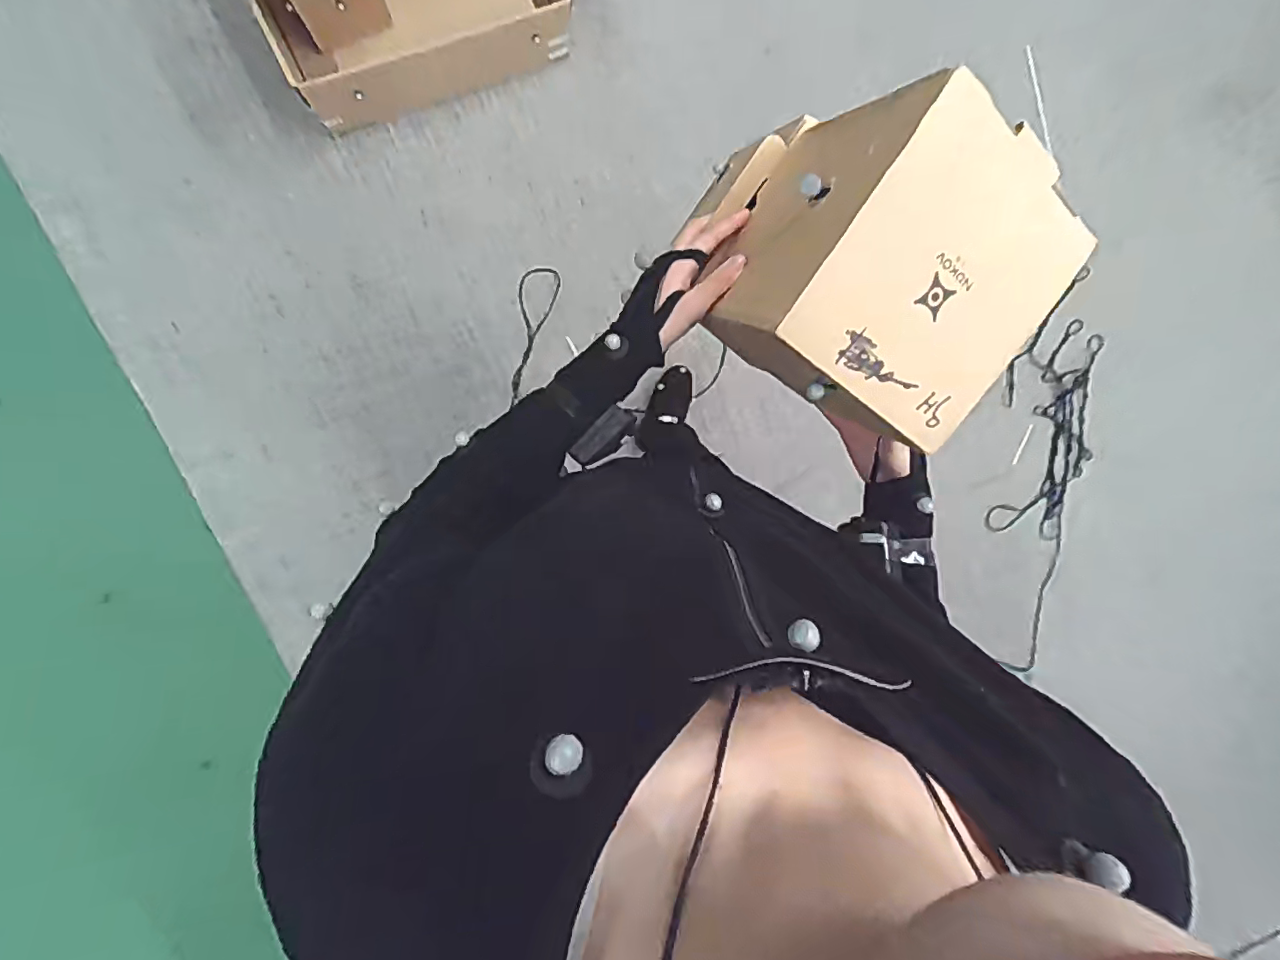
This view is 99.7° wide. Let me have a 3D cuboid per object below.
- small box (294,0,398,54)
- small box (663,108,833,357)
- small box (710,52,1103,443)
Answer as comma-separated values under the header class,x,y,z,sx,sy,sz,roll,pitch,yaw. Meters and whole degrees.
class,x,y,z,sx,sy,sz,roll,pitch,yaw
small box,-0.637,-1.041,1.123,0.179,0.176,0.168,-27,102,-7
small box,0.148,-0.230,0.564,0.179,0.176,0.168,32,100,-23
small box,0.181,-0.161,0.417,0.168,0.176,0.179,29,101,-22
